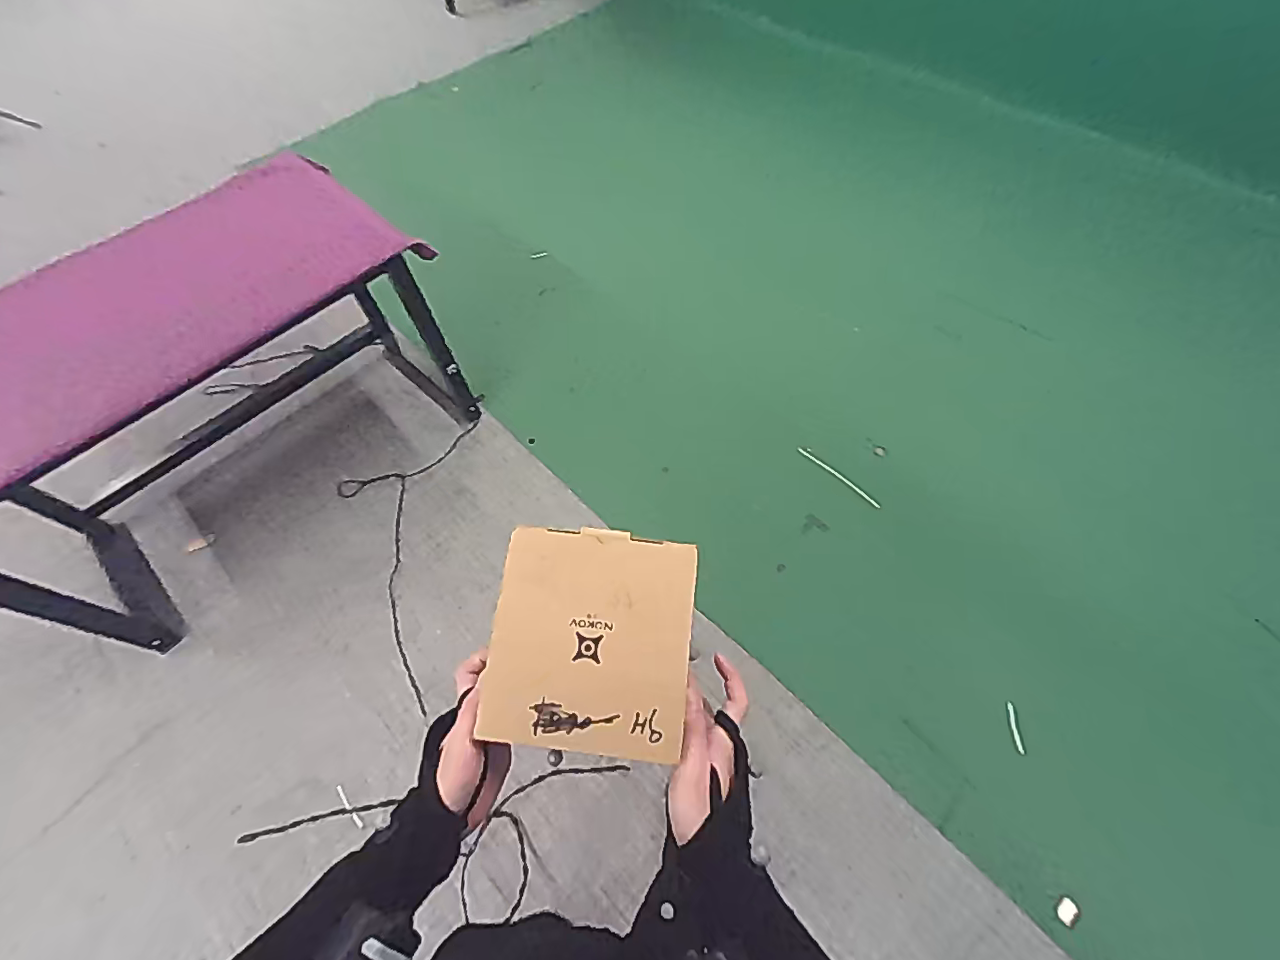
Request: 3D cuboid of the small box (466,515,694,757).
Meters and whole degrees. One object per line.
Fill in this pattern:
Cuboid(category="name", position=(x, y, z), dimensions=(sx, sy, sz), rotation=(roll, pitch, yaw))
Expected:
Cuboid(category="small box", position=(-0.043, 0.148, 0.515), dimensions=(0.168, 0.176, 0.179), rotation=(5, 70, 4))
